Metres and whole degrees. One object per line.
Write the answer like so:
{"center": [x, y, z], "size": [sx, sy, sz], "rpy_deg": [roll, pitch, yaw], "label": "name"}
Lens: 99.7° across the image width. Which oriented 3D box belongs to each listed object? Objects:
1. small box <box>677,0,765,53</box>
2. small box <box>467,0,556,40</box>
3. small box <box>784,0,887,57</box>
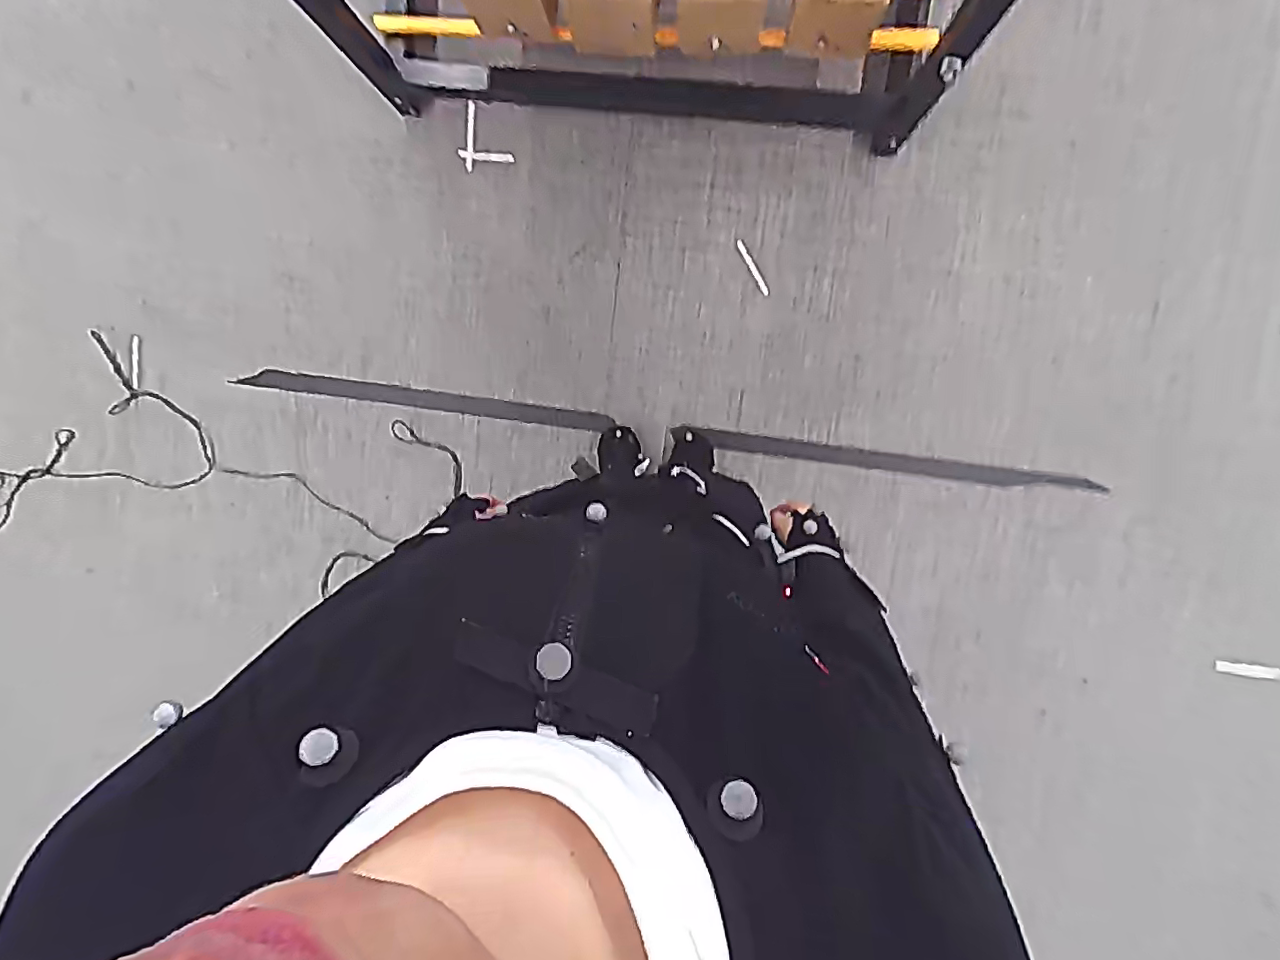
{"center": [0.160, -0.976, 1.045], "size": [0.168, 0.176, 0.179], "rpy_deg": [5, 100, 5], "label": "small box"}
{"center": [-0.263, -1.027, 1.069], "size": [0.168, 0.176, 0.179], "rpy_deg": [7, 99, 4], "label": "small box"}
{"center": [0.379, -0.958, 1.027], "size": [0.168, 0.176, 0.179], "rpy_deg": [9, 99, 5], "label": "small box"}
